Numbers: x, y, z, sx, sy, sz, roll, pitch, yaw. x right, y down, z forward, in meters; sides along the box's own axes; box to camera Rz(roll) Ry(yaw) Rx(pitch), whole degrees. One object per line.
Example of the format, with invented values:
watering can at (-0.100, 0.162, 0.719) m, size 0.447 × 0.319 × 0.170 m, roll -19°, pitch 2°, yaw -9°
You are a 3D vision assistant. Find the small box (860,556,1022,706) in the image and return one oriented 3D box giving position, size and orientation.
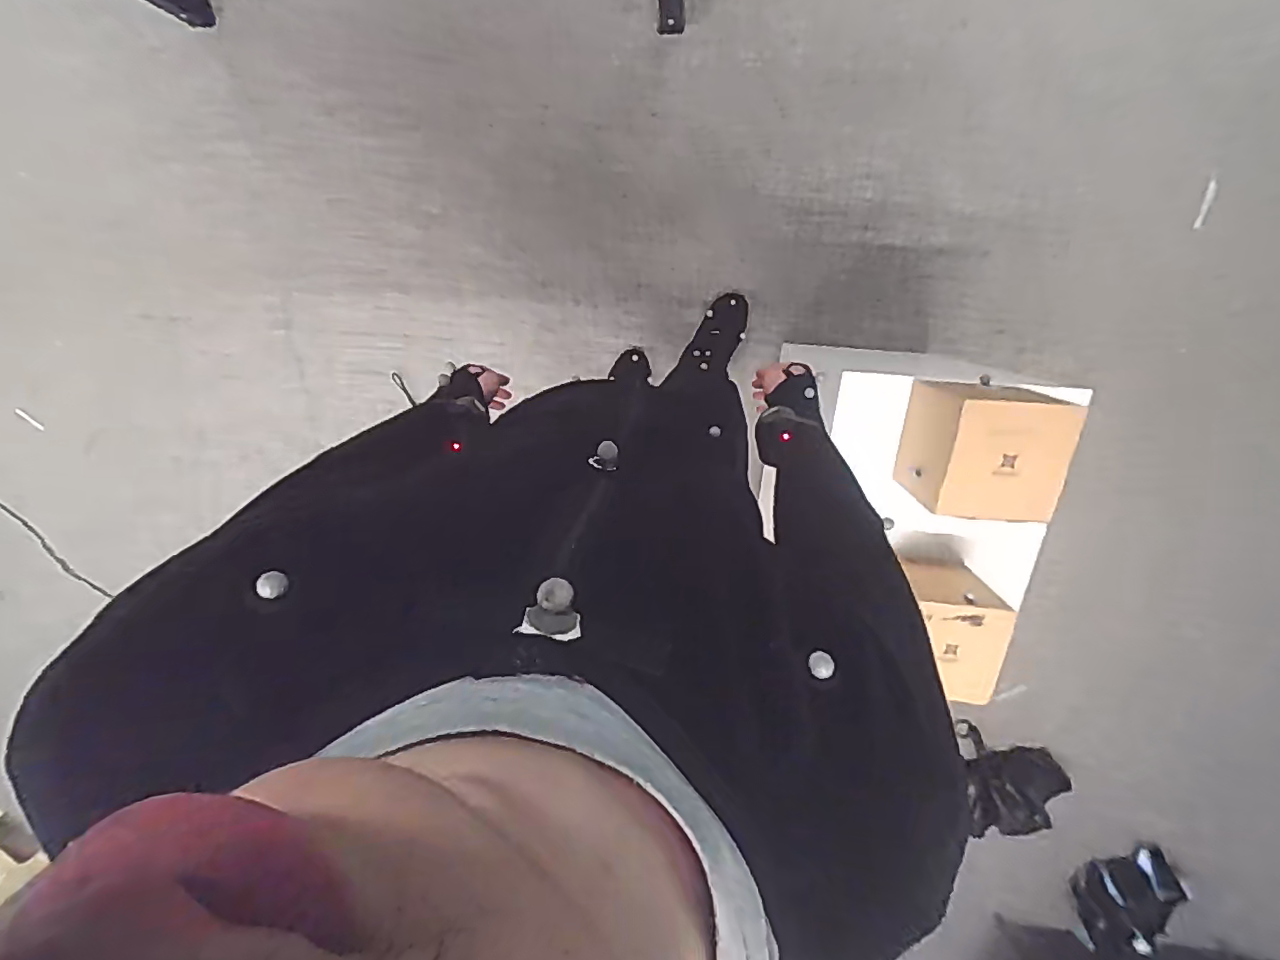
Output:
small box at (0.494, 0.250, 0.919) m, size 0.168 × 0.176 × 0.179 m, roll 5°, pitch 108°, yaw 0°

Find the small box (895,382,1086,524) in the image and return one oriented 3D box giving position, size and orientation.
small box at (0.514, -0.048, 0.825) m, size 0.168 × 0.176 × 0.179 m, roll 2°, pitch 108°, yaw 0°
